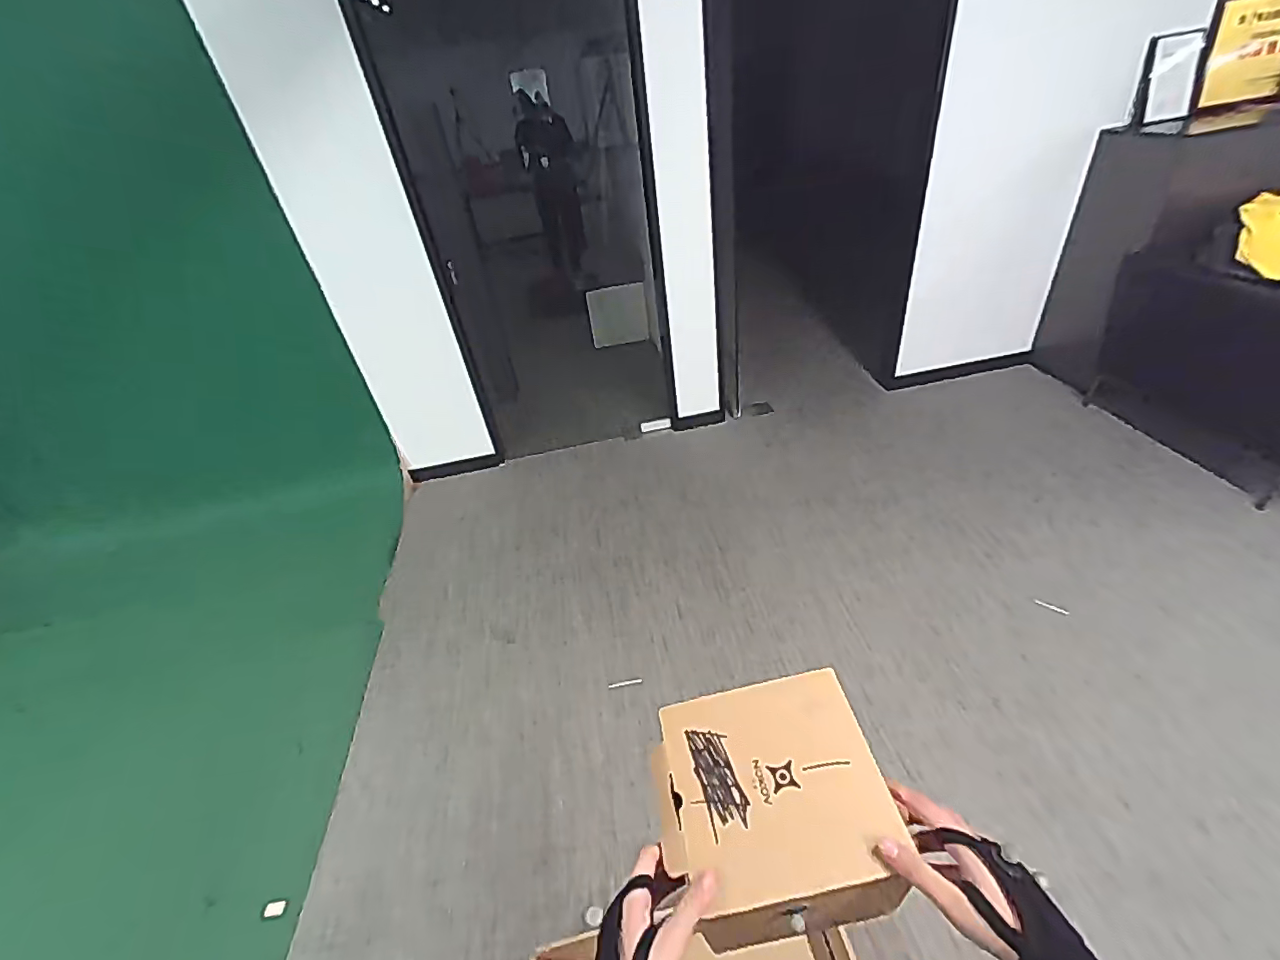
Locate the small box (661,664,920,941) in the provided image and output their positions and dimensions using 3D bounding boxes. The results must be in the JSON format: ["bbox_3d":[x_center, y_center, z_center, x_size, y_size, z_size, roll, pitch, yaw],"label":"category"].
[{"bbox_3d":[0.130,0.306,0.512,0.179,0.176,0.168,-14,42,1],"label":"small box"}]
